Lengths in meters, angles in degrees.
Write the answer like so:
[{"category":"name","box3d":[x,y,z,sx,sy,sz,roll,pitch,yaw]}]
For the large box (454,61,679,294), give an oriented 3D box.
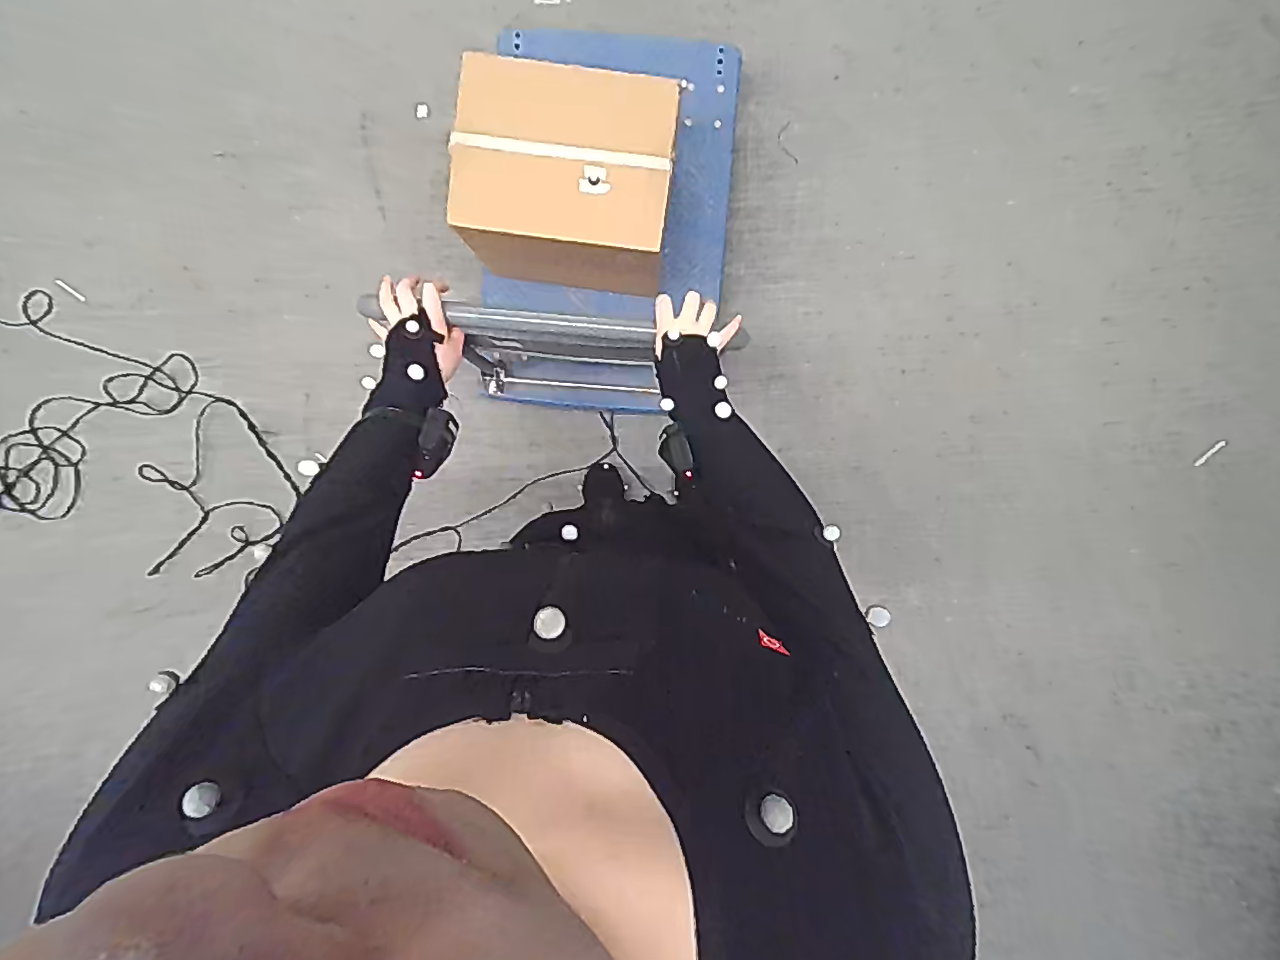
[{"category":"large box","box3d":[-0.144,-0.618,1.165,0.408,0.320,0.320,7,94,-1]}]
